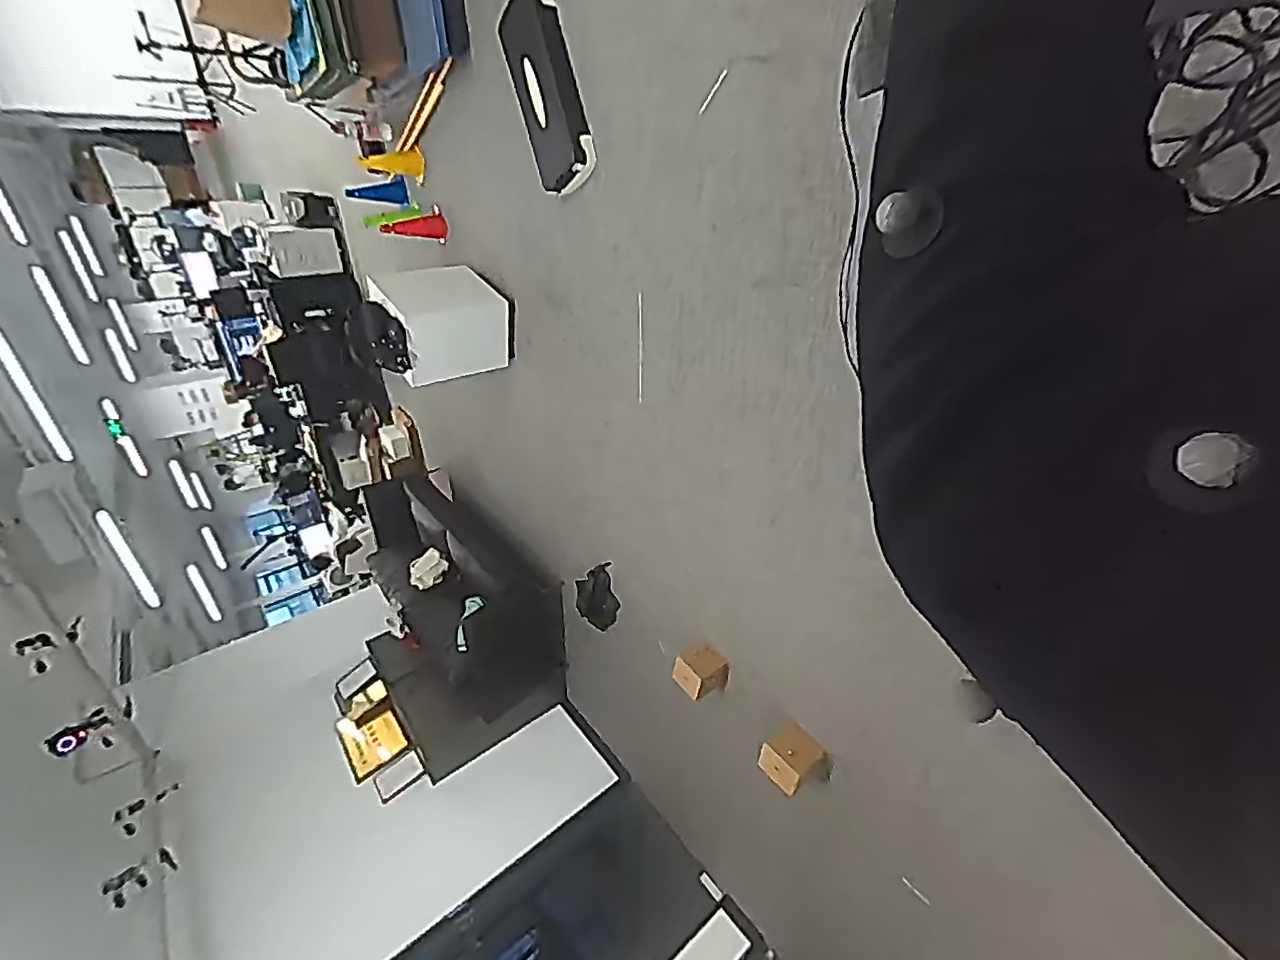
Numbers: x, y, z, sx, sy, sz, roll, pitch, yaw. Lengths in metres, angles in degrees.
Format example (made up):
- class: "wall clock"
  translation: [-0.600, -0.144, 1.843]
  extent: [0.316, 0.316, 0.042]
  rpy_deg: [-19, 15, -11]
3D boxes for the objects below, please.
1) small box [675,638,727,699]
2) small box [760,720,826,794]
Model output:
- class: "small box"
  translation: [0.284, 0.868, 2.506]
  extent: [0.168, 0.176, 0.179]
  rpy_deg: [40, 138, 38]
- class: "small box"
  translation: [0.615, 1.102, 2.175]
  extent: [0.179, 0.176, 0.168]
  rpy_deg: [35, 134, 39]
